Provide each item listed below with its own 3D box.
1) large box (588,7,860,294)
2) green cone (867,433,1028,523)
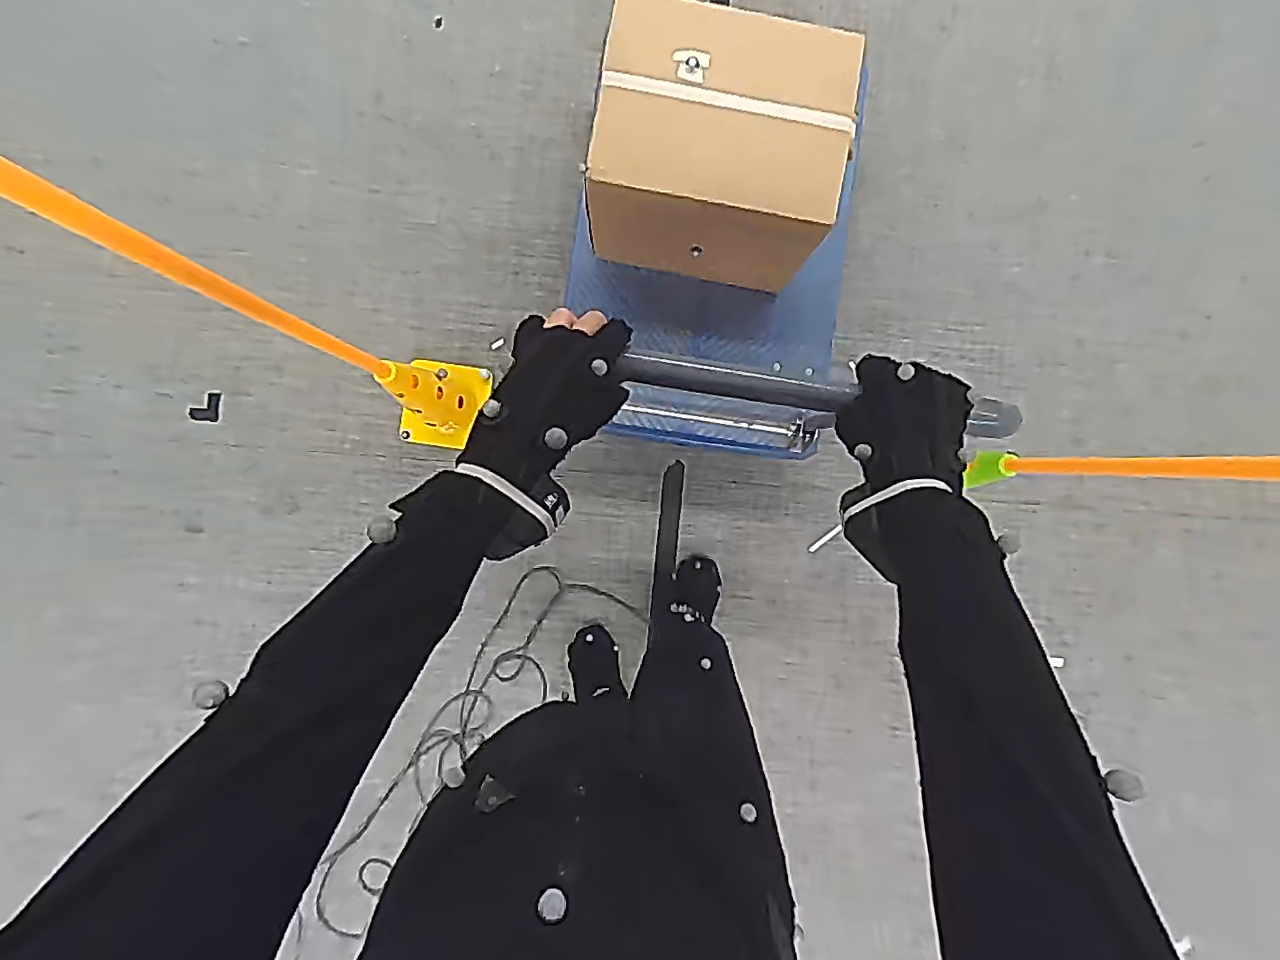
[{"bbox_3d":[0.136,-0.575,1.015,0.408,0.320,0.320,10,89,-1],"label":"large box"},{"bbox_3d":[0.669,-0.011,1.154,0.202,0.368,0.200,9,88,-2],"label":"green cone"}]
